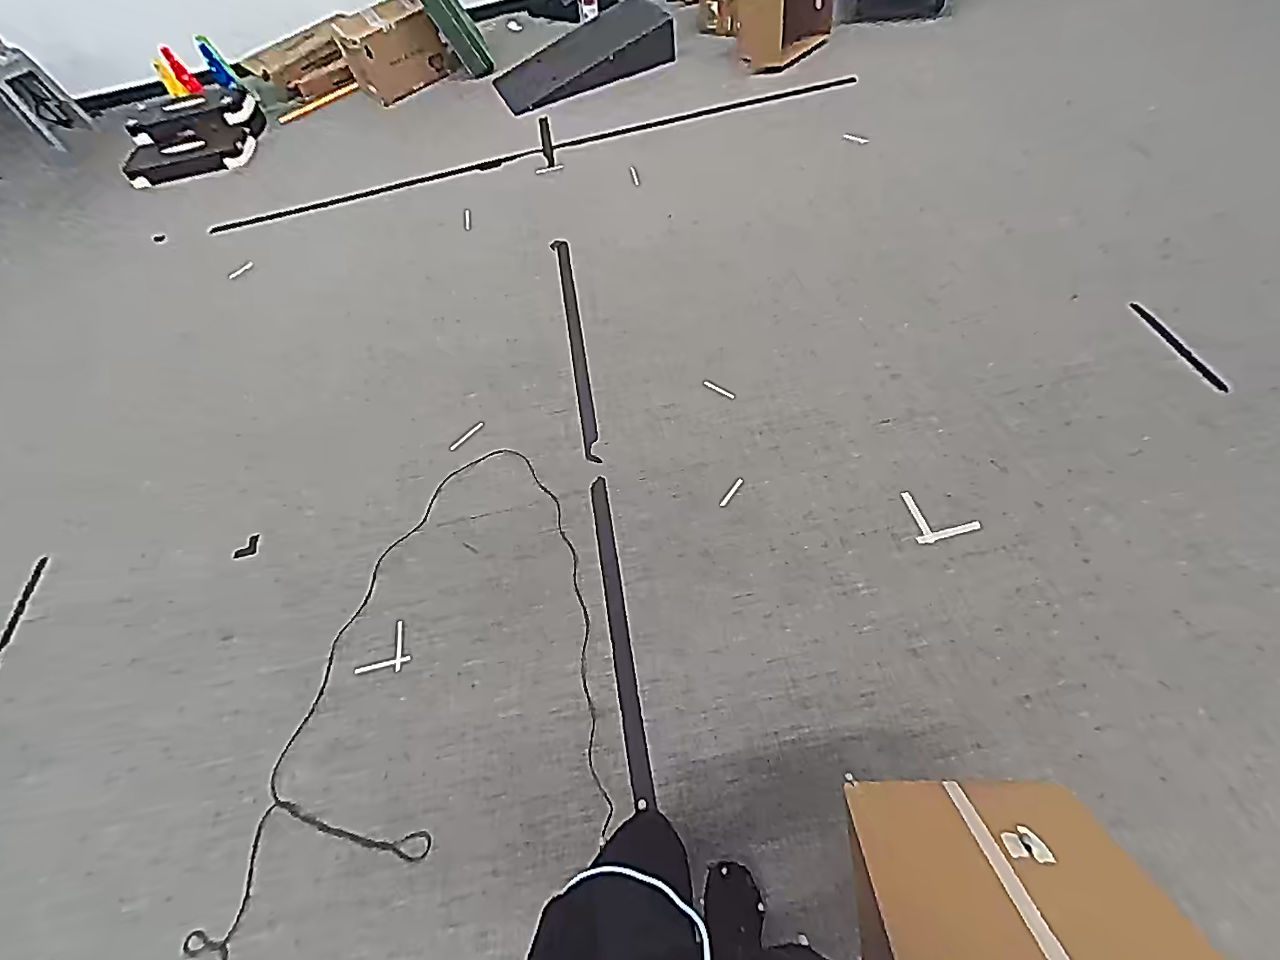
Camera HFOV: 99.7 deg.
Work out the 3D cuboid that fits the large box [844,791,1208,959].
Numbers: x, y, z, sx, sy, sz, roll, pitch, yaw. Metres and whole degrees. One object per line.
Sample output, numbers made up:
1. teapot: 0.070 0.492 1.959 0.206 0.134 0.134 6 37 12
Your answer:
1. large box: 0.461 0.650 0.650 0.320 0.408 0.320 -5 93 10
